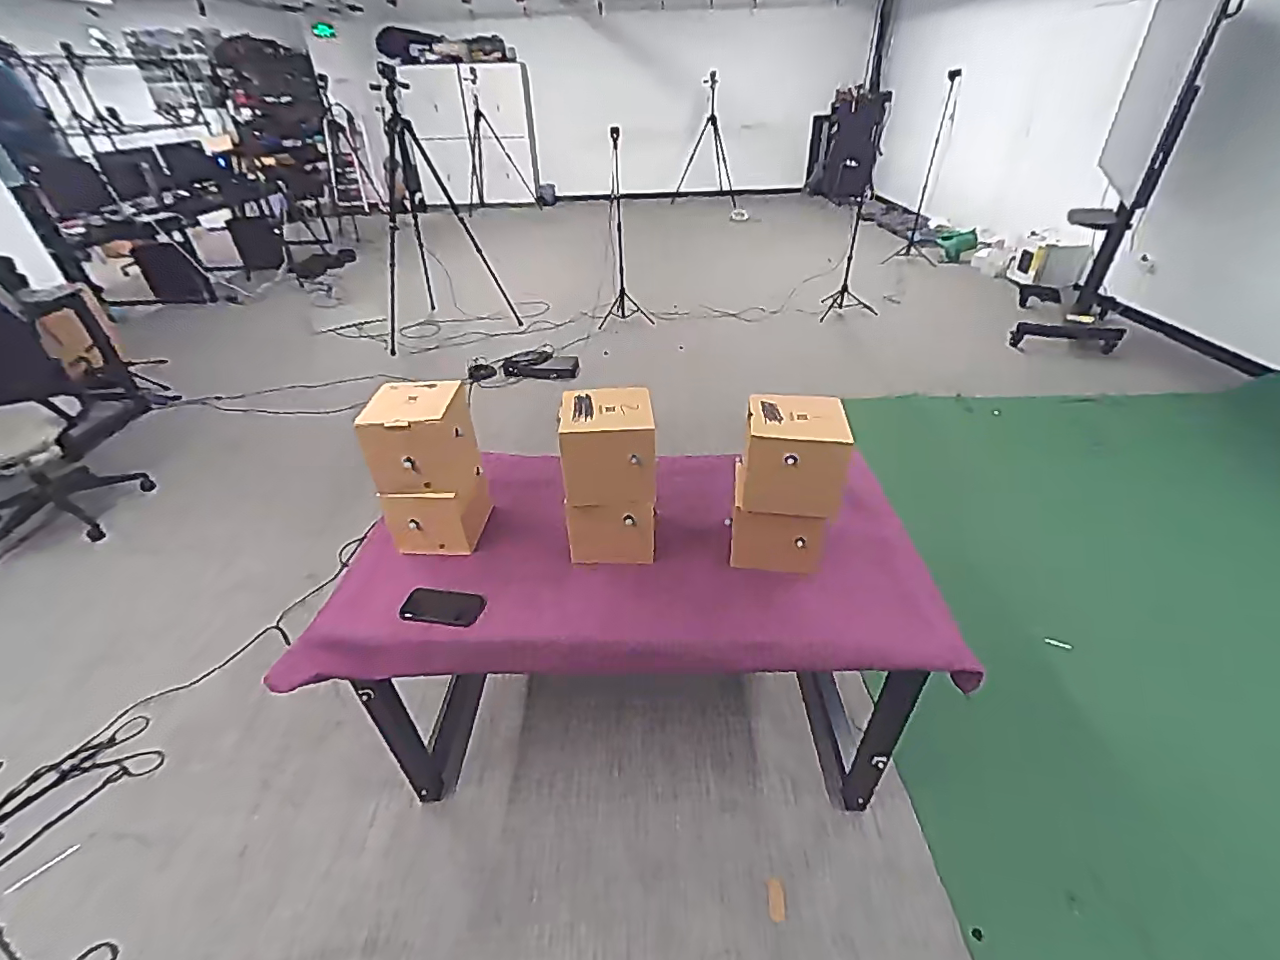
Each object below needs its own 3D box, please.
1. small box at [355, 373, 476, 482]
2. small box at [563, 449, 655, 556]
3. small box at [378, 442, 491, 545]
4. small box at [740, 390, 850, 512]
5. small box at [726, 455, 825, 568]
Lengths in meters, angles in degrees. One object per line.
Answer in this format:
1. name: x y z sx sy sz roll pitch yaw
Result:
1. small box: -0.450 -0.106 1.120 0.168 0.176 0.179 -1 37 -1
2. small box: -0.059 0.050 1.170 0.179 0.176 0.168 1 37 4
3. small box: -0.447 0.030 1.211 0.168 0.176 0.179 2 37 4
4. small box: 0.284 -0.055 1.029 0.179 0.176 0.168 5 37 8
5. small box: 0.280 0.067 1.139 0.179 0.176 0.168 4 37 9
